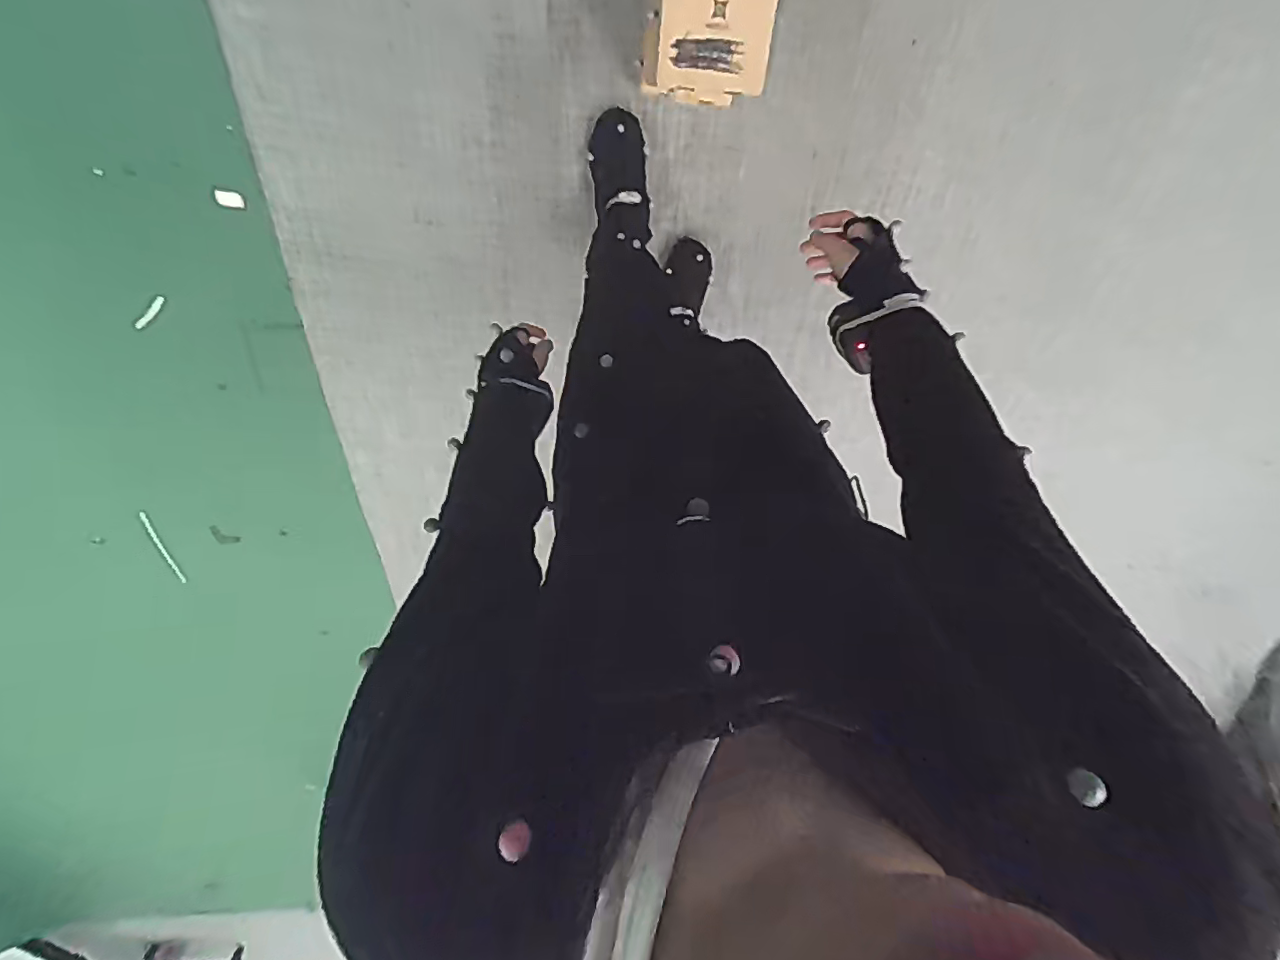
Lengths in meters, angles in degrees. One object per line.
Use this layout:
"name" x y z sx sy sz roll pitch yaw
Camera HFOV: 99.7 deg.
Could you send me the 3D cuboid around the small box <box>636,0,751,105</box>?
"small box" 0.088 -0.803 0.979 0.168 0.176 0.179 5 127 -9
